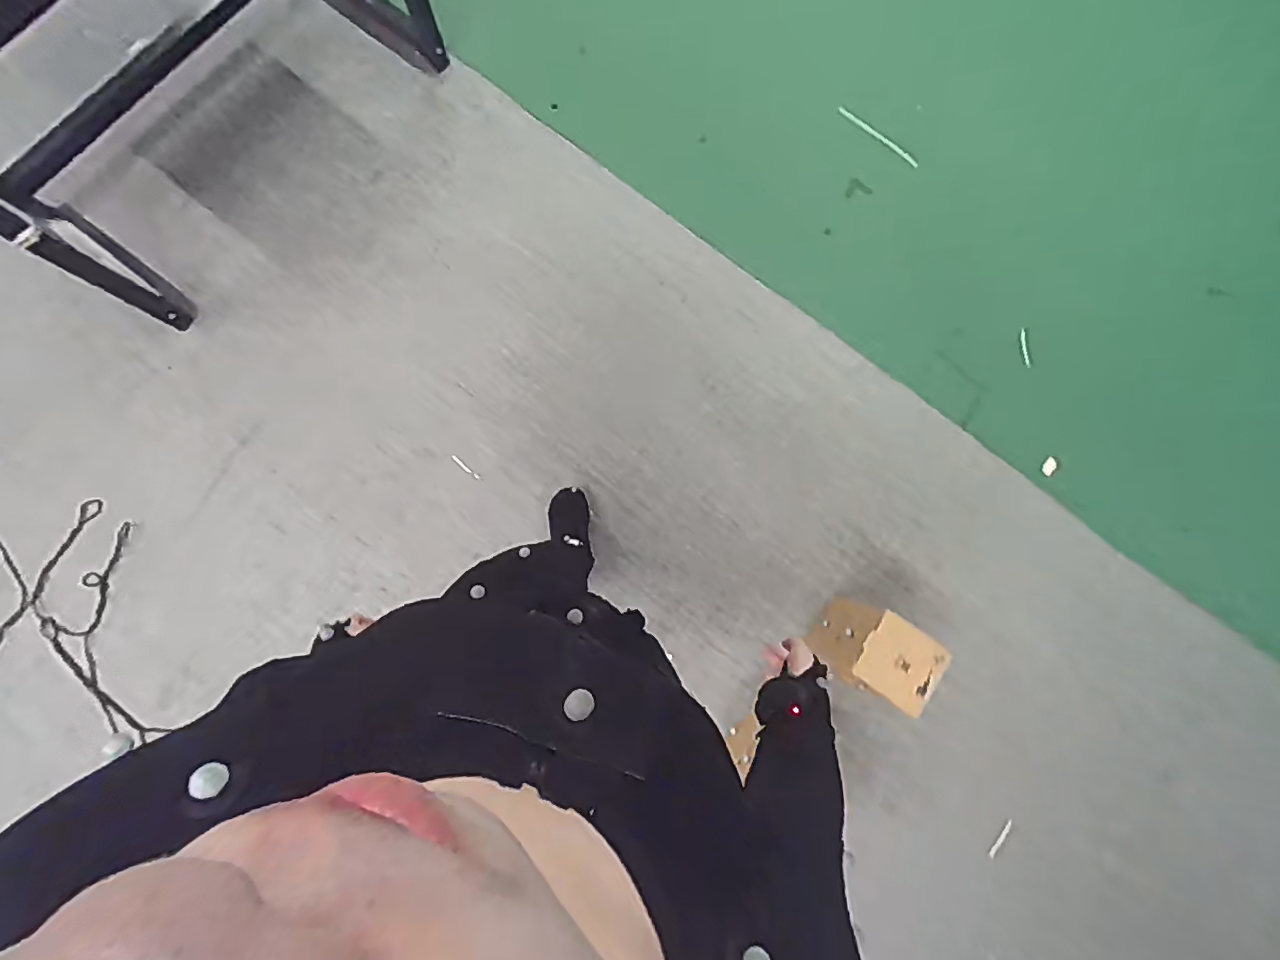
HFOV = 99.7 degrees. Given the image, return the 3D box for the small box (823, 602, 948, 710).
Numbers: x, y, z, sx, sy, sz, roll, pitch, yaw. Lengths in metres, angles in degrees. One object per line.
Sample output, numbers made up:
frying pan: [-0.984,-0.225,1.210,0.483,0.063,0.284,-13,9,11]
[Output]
small box: [0.564,0.403,1.269,0.179,0.176,0.168,36,82,3]

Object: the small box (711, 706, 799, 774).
small box: [0.305,0.712,1.378,0.179,0.176,0.168,44,82,5]
